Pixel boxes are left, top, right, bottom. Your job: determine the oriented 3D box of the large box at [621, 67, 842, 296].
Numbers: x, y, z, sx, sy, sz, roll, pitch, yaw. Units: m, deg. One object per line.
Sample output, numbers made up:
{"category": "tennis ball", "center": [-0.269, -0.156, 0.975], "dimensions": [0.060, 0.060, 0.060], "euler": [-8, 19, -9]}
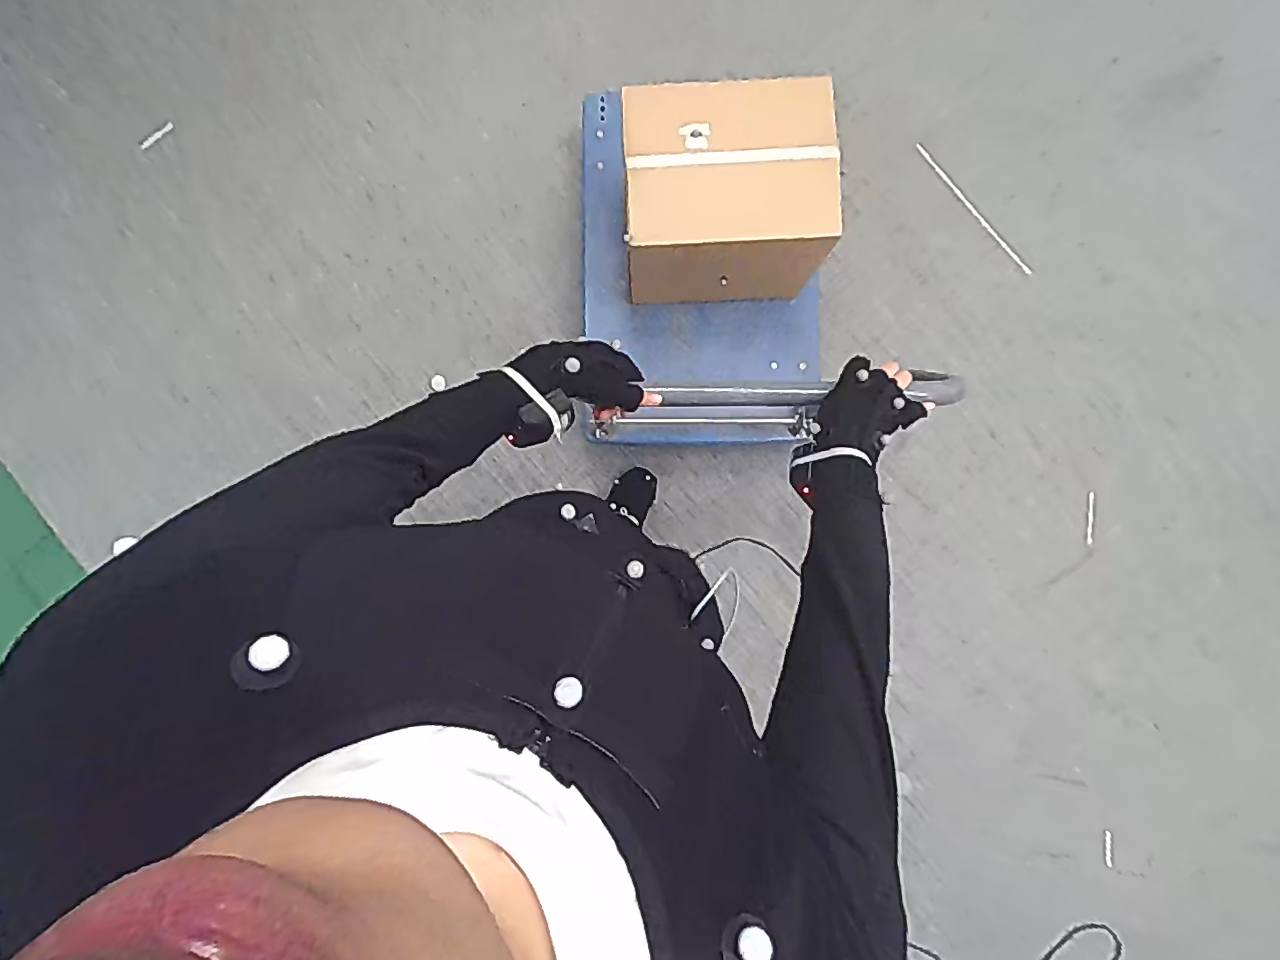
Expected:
{"category": "large box", "center": [0.175, -0.610, 1.166], "dimensions": [0.408, 0.320, 0.320], "euler": [-4, 88, 0]}
